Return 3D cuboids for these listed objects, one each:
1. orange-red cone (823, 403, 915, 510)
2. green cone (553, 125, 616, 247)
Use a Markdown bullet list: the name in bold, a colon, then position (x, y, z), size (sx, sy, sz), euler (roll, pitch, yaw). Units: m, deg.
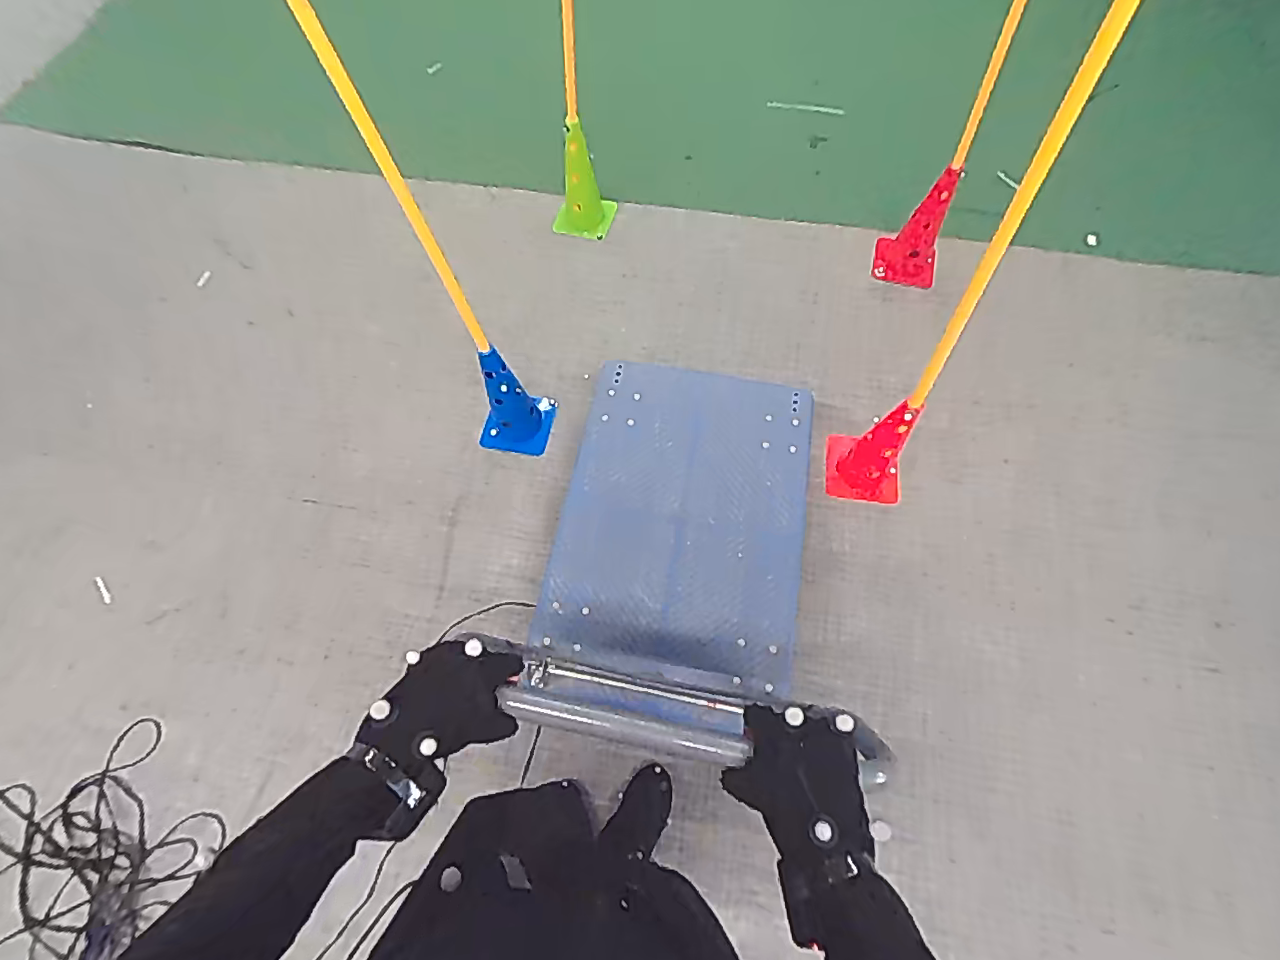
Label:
- **orange-red cone**: position (0.619, -0.085, 1.398), size (0.199, 0.360, 0.198), euler (8, 65, 7)
- **green cone**: position (-0.209, -1.013, 1.838), size (0.202, 0.368, 0.200), euler (13, 66, 8)
